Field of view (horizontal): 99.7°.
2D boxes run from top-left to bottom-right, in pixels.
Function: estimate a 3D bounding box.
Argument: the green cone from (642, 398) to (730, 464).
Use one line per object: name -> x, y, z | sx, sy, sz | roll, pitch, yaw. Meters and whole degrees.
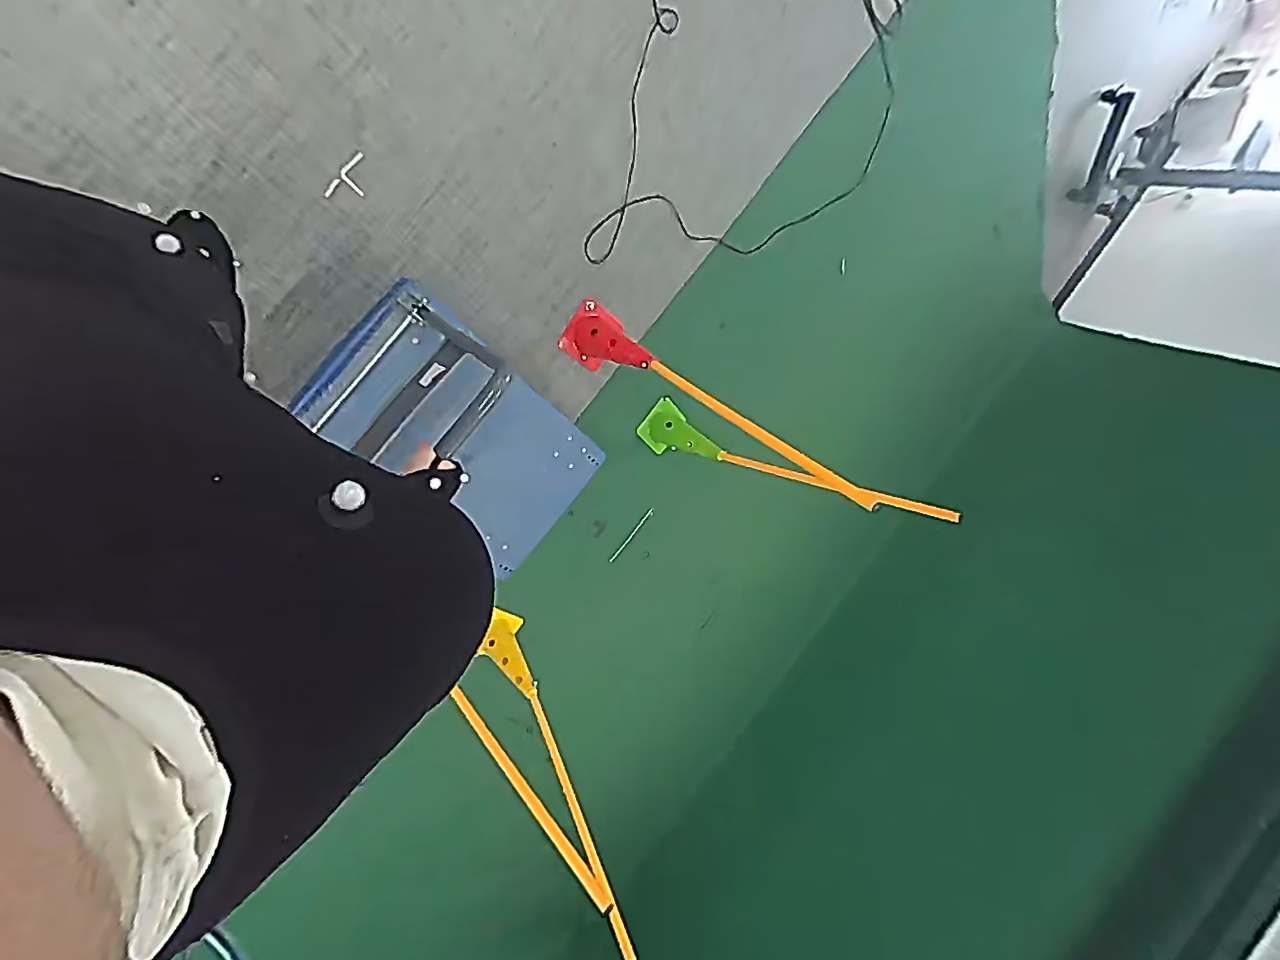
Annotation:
green cone -> 0.212, -0.150, 2.144 | 0.200, 0.368, 0.202 | -53, 138, -3
